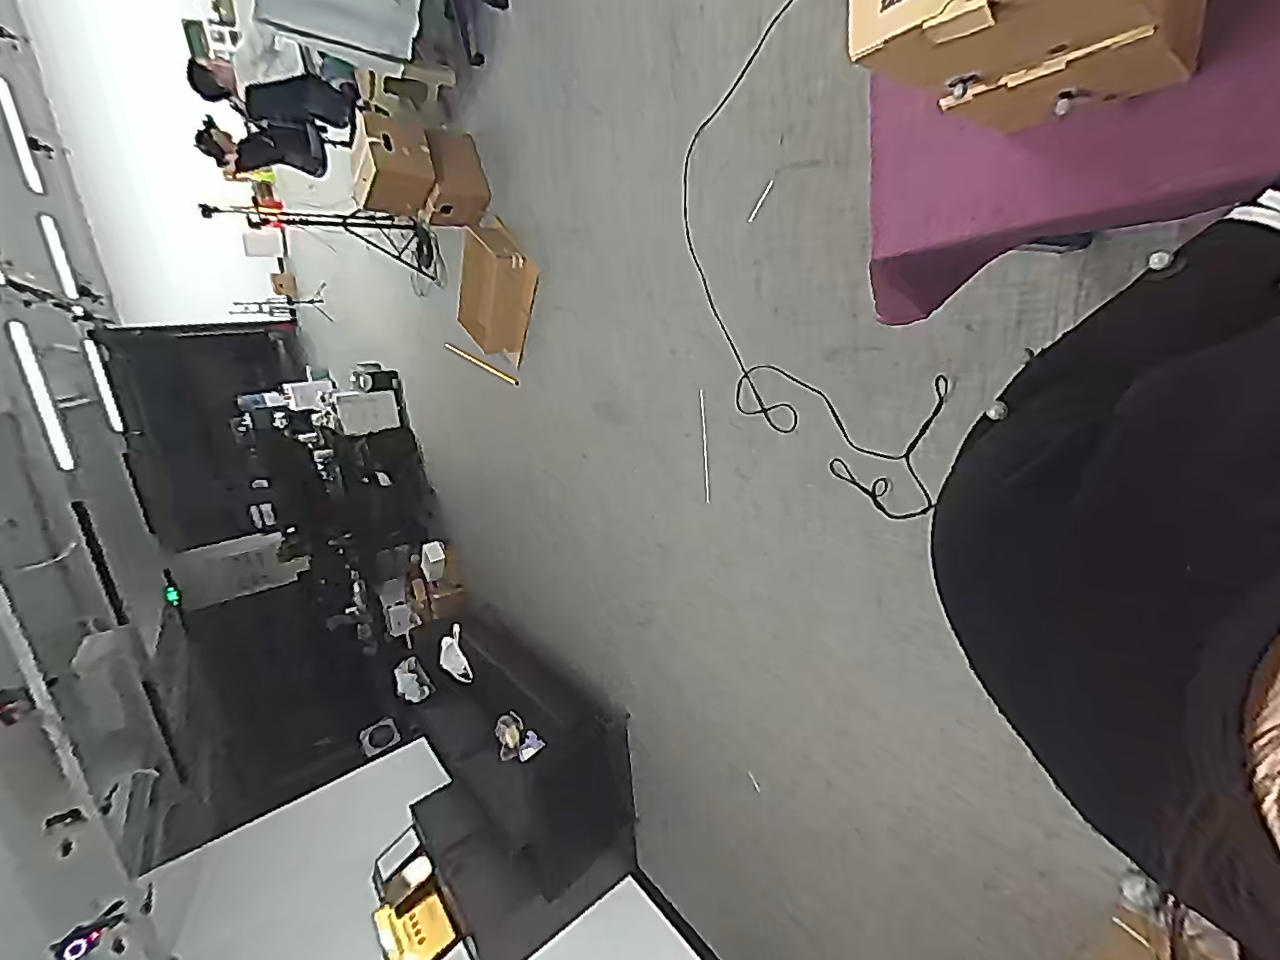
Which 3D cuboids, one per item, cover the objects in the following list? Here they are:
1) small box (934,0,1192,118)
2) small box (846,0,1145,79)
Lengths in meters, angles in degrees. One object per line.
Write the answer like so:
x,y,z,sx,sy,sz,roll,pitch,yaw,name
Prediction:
0.406,-0.471,0.515,0.168,0.176,0.179,14,115,49,small box
0.280,-0.440,0.414,0.168,0.176,0.179,16,115,49,small box
